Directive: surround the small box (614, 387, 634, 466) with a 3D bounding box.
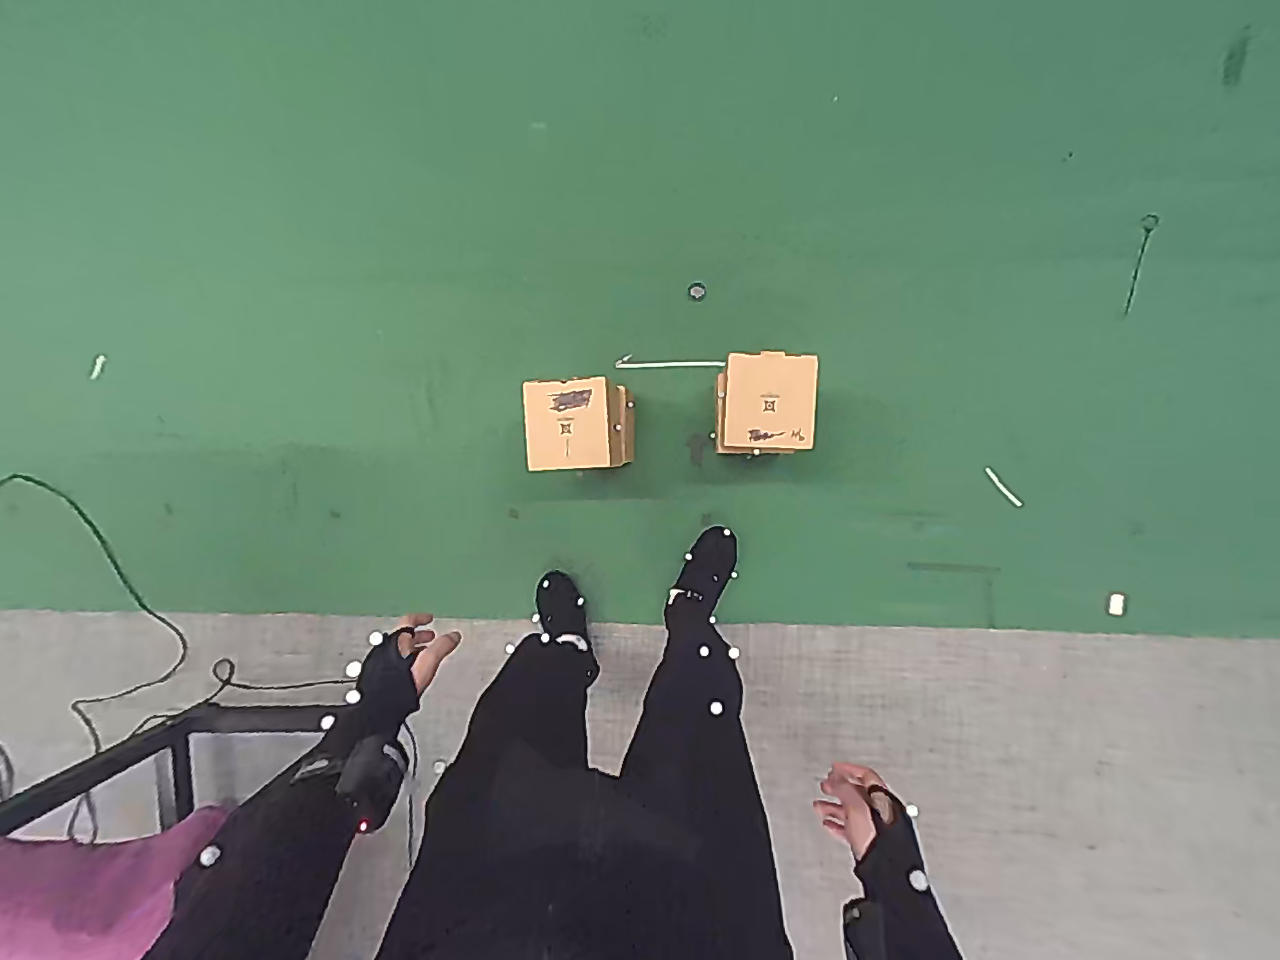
[{"bbox_3d":[-0.104,-0.123,1.283,0.168,0.176,0.179,1,92,7],"label":"small box"}]

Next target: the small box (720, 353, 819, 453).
[{"bbox_3d":[0.250,-0.147,1.075,0.168,0.176,0.179,3,93,6],"label":"small box"}]

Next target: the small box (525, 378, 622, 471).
[{"bbox_3d":[-0.131,-0.109,1.121,0.168,0.176,0.179,-2,93,7],"label":"small box"}]
